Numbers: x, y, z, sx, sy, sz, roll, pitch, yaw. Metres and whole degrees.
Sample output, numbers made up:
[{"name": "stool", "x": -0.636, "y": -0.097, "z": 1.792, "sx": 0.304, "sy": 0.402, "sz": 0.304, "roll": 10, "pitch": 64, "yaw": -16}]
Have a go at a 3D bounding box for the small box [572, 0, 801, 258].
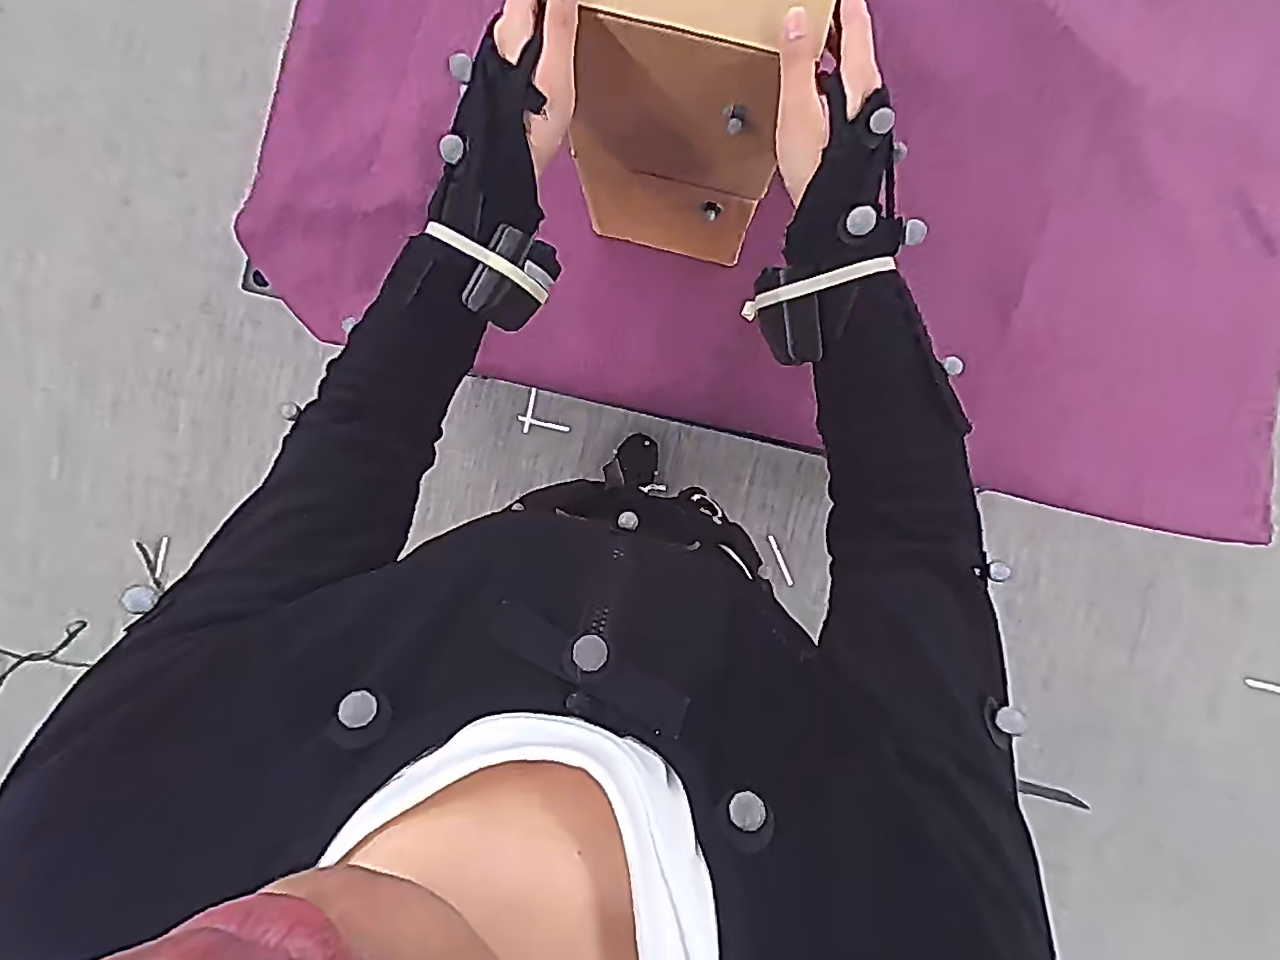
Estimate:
[{"name": "small box", "x": 0.043, "y": -0.355, "z": 0.563, "sx": 0.179, "sy": 0.176, "sz": 0.168, "roll": 14, "pitch": 92, "yaw": 0}]
